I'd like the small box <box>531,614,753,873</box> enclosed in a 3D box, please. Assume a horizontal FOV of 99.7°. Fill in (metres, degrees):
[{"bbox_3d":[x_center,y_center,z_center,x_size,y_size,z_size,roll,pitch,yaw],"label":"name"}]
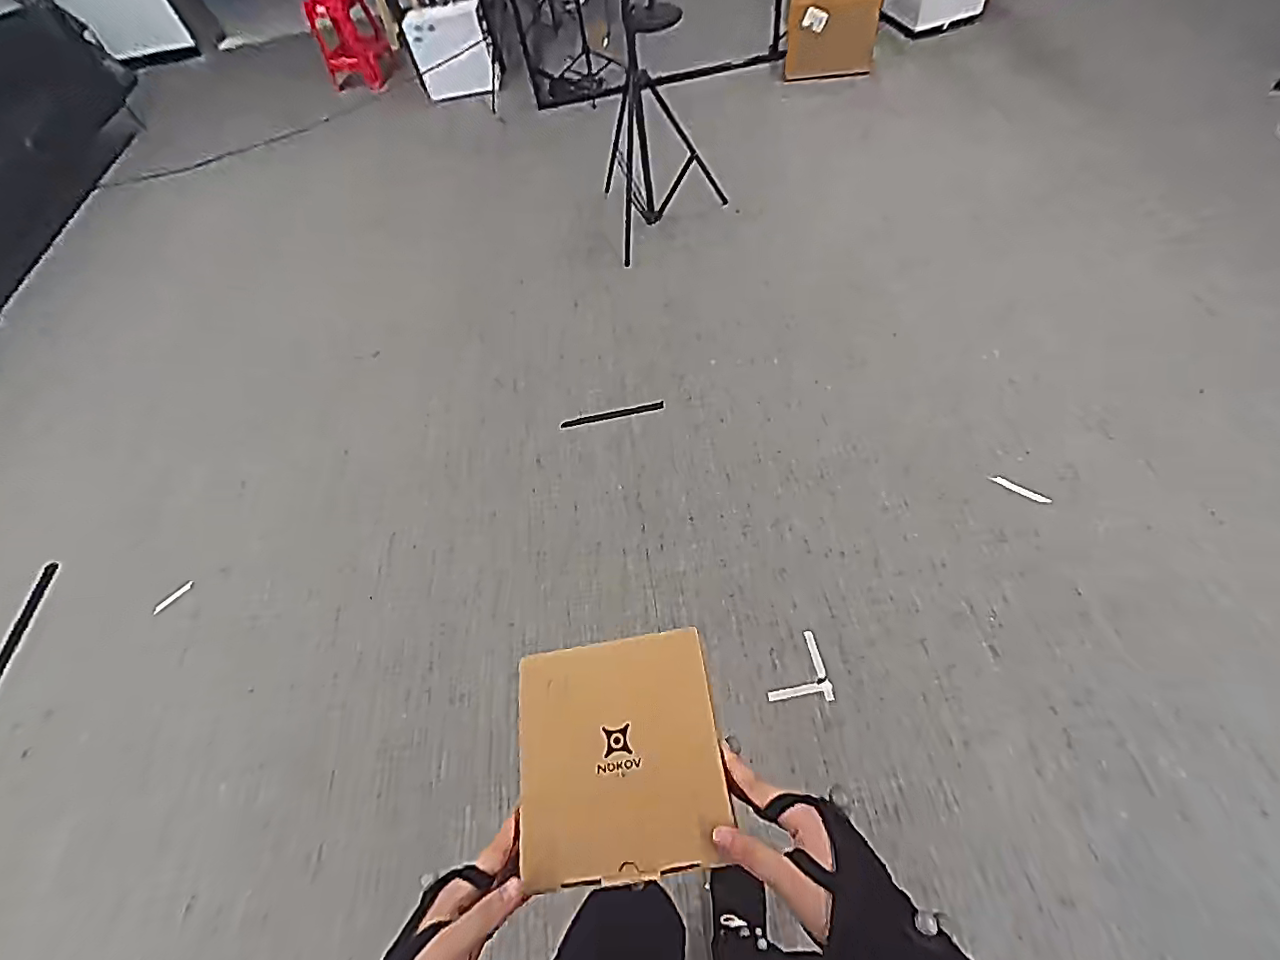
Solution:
[{"bbox_3d":[0.002,0.248,0.505,0.168,0.176,0.179,-11,56,3],"label":"small box"}]
